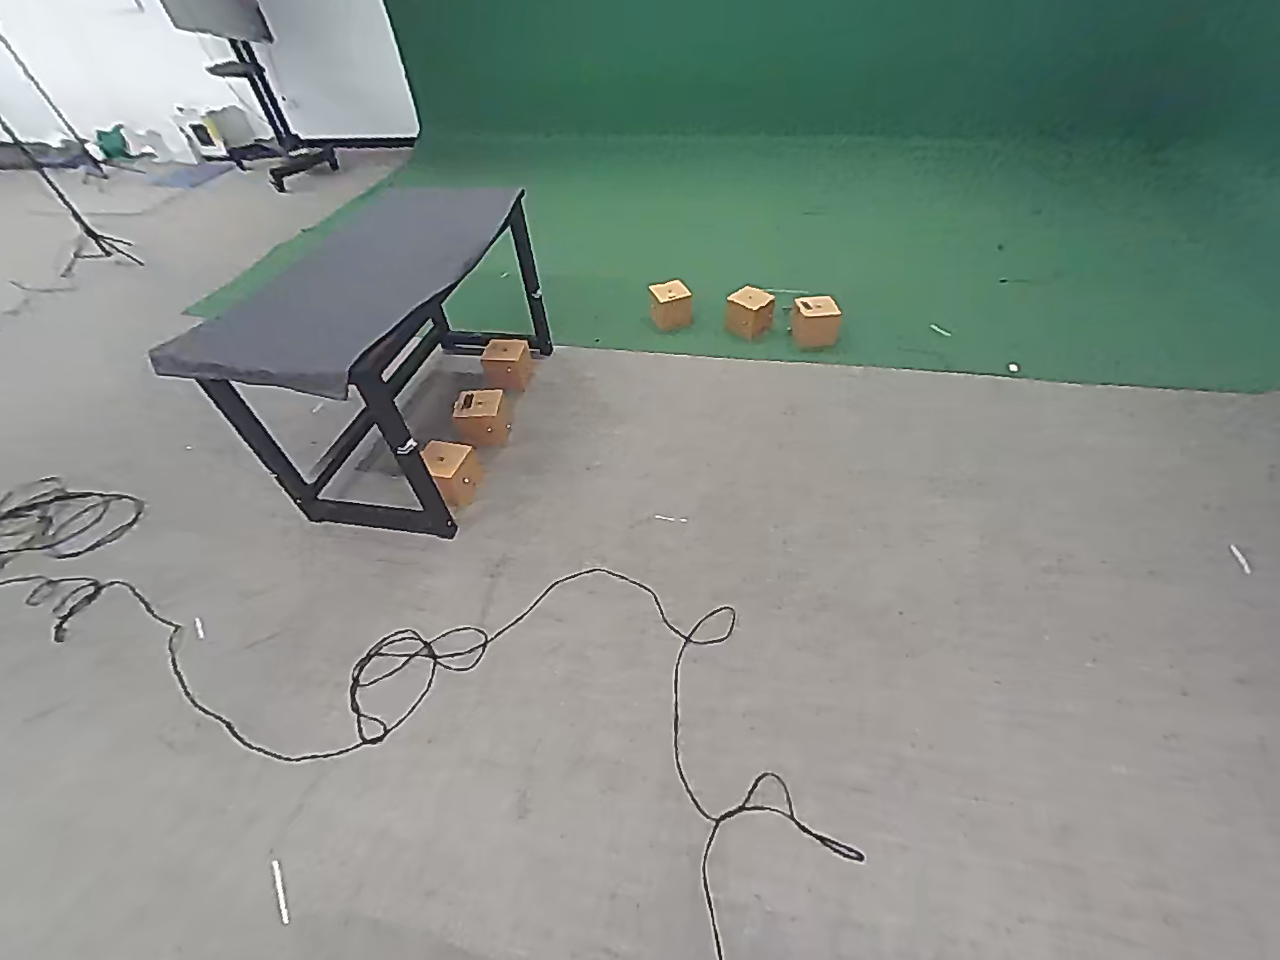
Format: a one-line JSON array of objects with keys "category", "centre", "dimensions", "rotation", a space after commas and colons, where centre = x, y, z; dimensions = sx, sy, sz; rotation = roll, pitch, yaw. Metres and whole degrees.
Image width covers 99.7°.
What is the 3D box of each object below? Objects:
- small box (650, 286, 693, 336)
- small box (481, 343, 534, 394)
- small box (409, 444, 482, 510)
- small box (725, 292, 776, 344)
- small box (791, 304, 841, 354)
[{"category": "small box", "centre": [0.156, -0.852, 2.730], "dimensions": [0.168, 0.176, 0.179], "rotation": [-17, 47, -12]}, {"category": "small box", "centre": [-0.593, -0.502, 2.451], "dimensions": [0.179, 0.176, 0.168], "rotation": [3, 47, 7]}, {"category": "small box", "centre": [-0.710, -0.007, 1.999], "dimensions": [0.179, 0.176, 0.168], "rotation": [9, 49, 13]}, {"category": "small box", "centre": [0.536, -0.783, 2.636], "dimensions": [0.168, 0.176, 0.179], "rotation": [-36, 53, -27]}, {"category": "small box", "centre": [0.821, -0.710, 2.546], "dimensions": [0.179, 0.176, 0.168], "rotation": [-5, 47, -1]}]
